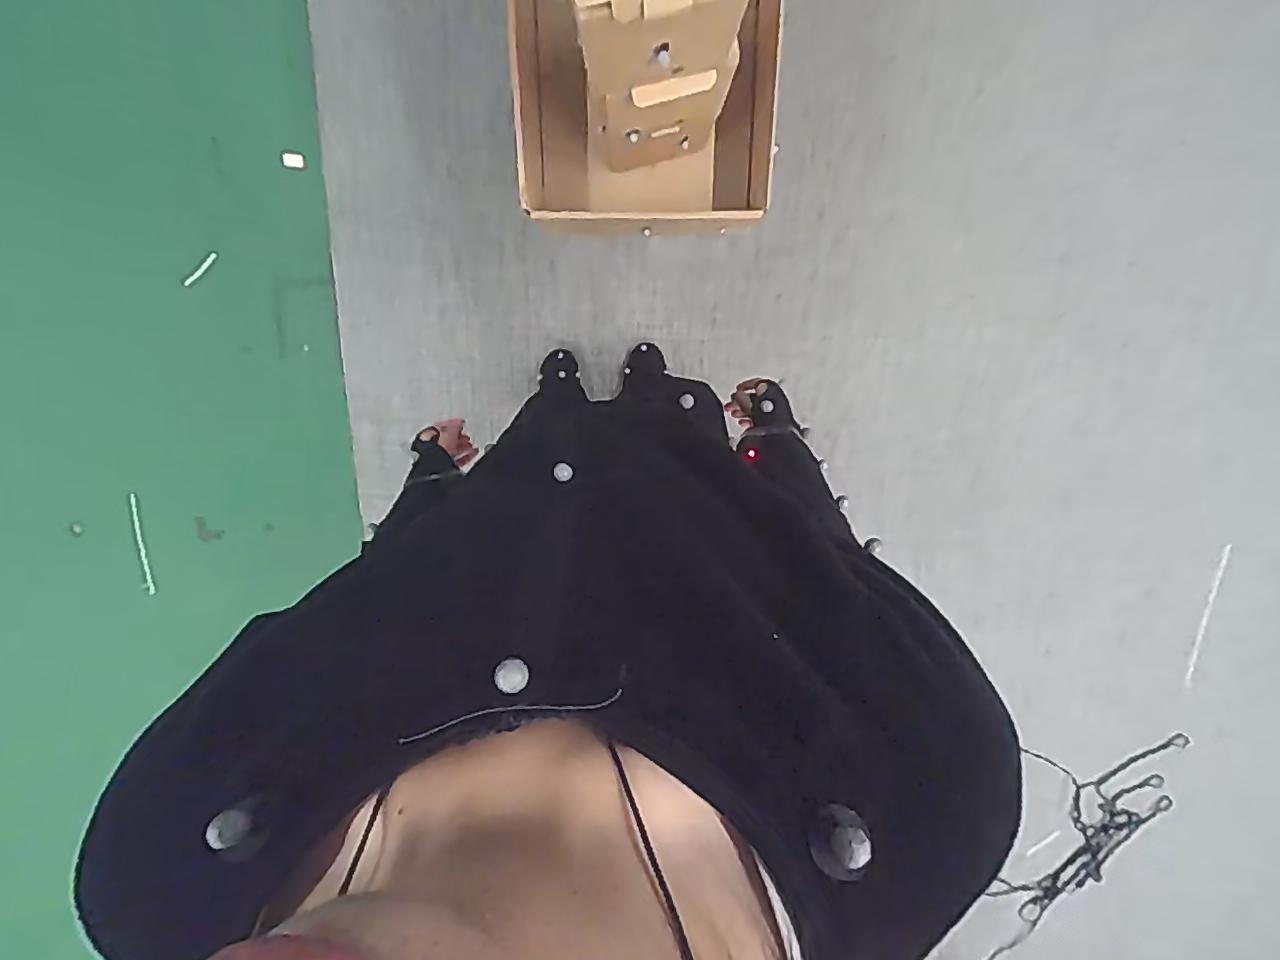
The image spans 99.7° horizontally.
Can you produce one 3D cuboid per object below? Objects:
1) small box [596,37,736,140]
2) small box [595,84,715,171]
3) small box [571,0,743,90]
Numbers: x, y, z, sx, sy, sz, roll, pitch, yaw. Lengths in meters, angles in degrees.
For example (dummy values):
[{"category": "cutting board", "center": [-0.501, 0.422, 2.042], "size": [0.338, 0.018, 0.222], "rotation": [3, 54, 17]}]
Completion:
[{"category": "small box", "center": [0.018, -0.570, 0.700], "size": [0.168, 0.176, 0.179], "rotation": [-13, 103, 3]}, {"category": "small box", "center": [0.016, -0.614, 0.857], "size": [0.168, 0.176, 0.179], "rotation": [-13, 104, 3]}, {"category": "small box", "center": [0.007, -0.526, 0.542], "size": [0.168, 0.176, 0.179], "rotation": [-11, 105, 2]}]
